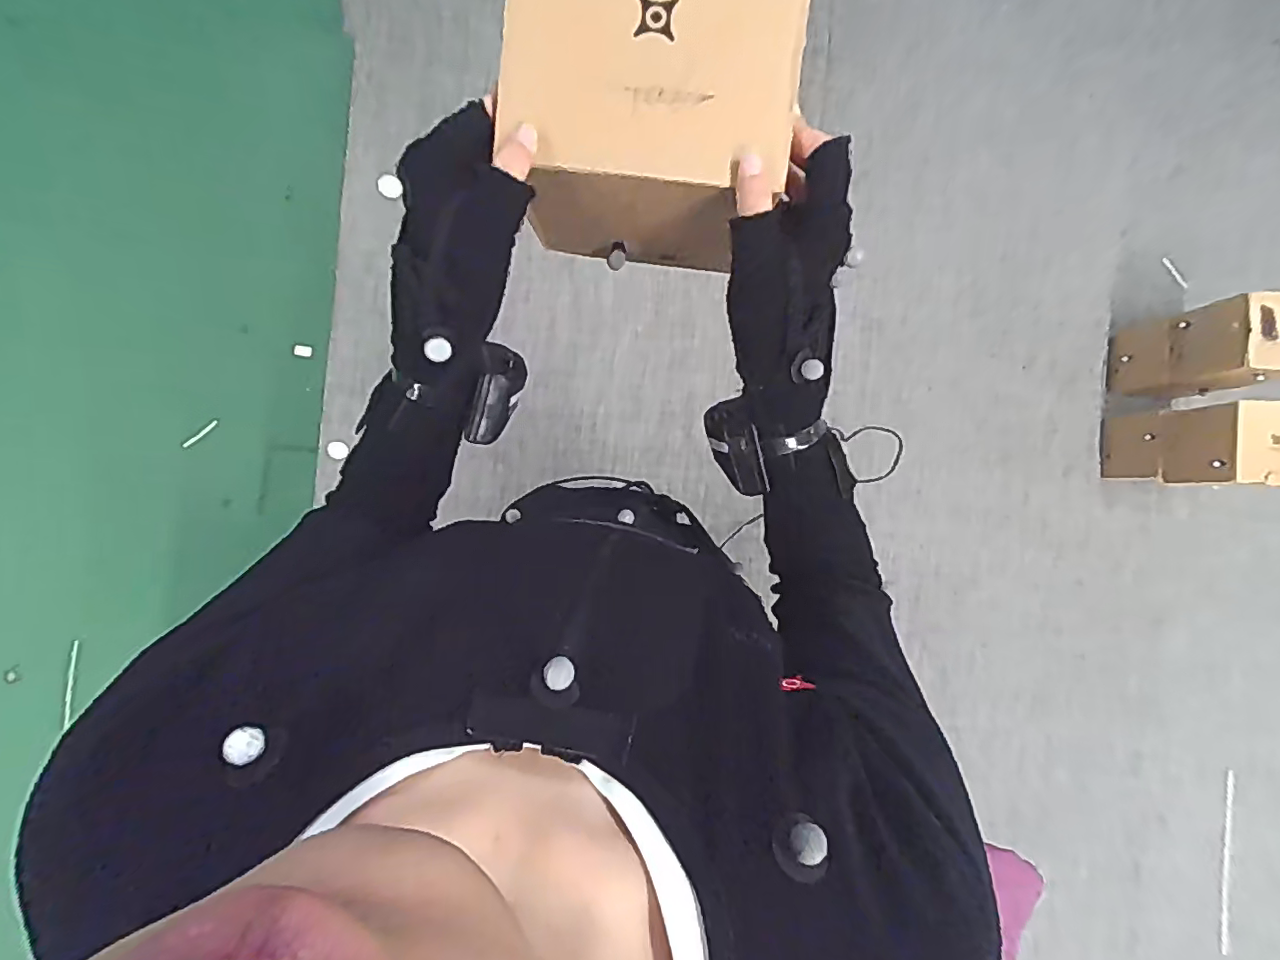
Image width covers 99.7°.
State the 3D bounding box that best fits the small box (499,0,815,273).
[{"bbox_3d":[0.010,-0.262,0.374,0.168,0.176,0.179,7,98,-2],"label":"small box"}]

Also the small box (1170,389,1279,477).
[{"bbox_3d":[1.327,-0.098,1.191,0.168,0.176,0.179,2,90,2],"label":"small box"}]

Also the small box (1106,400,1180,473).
[{"bbox_3d":[1.329,-0.103,1.354,0.179,0.176,0.168,3,89,1],"label":"small box"}]
